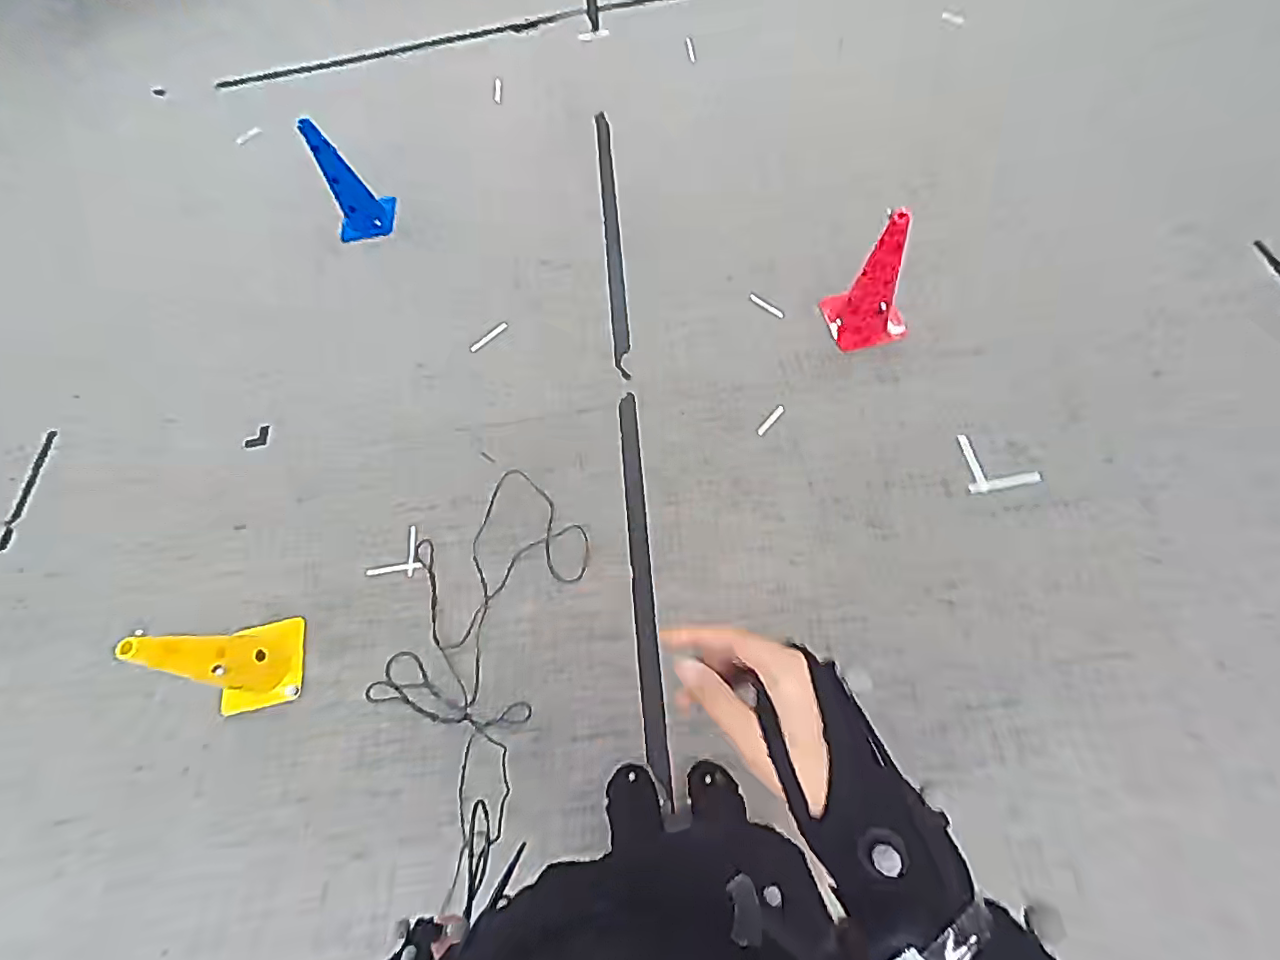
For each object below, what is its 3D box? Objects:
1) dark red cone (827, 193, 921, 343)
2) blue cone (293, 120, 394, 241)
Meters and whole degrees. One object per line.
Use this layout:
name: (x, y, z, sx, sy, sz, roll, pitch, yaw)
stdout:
dark red cone: (0.626, -0.545, 1.369, 0.201, 0.394, 0.202, -15, 65, 1)
blue cone: (-1.010, -1.016, 1.817, 0.192, 0.380, 0.193, -7, 65, 5)
